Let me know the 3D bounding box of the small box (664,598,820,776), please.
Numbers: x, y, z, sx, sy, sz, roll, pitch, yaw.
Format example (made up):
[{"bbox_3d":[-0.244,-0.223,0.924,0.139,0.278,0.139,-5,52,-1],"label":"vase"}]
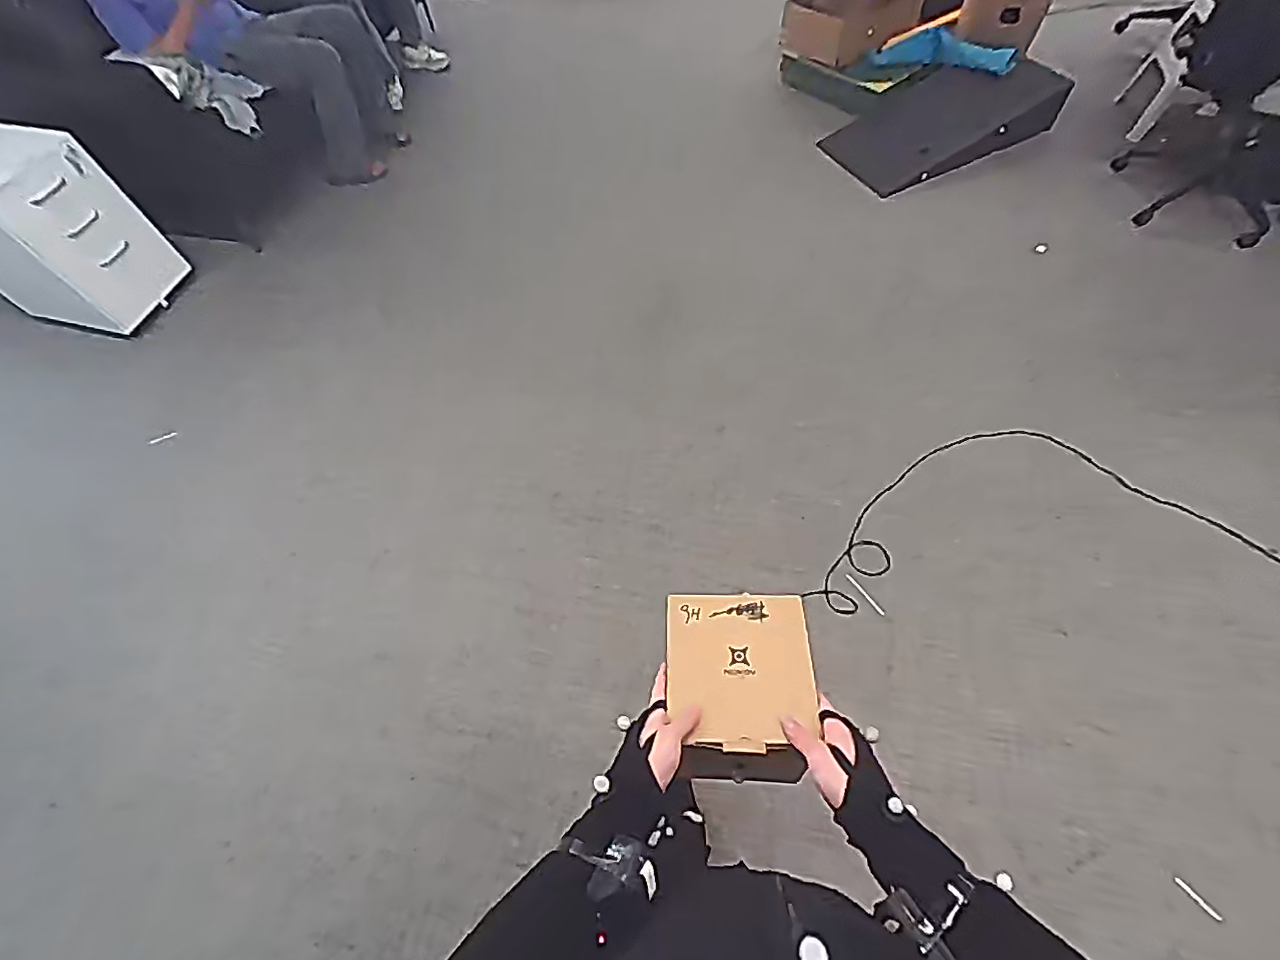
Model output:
[{"bbox_3d":[0.119,0.269,0.690,0.168,0.176,0.179,-3,51,3],"label":"small box"}]
